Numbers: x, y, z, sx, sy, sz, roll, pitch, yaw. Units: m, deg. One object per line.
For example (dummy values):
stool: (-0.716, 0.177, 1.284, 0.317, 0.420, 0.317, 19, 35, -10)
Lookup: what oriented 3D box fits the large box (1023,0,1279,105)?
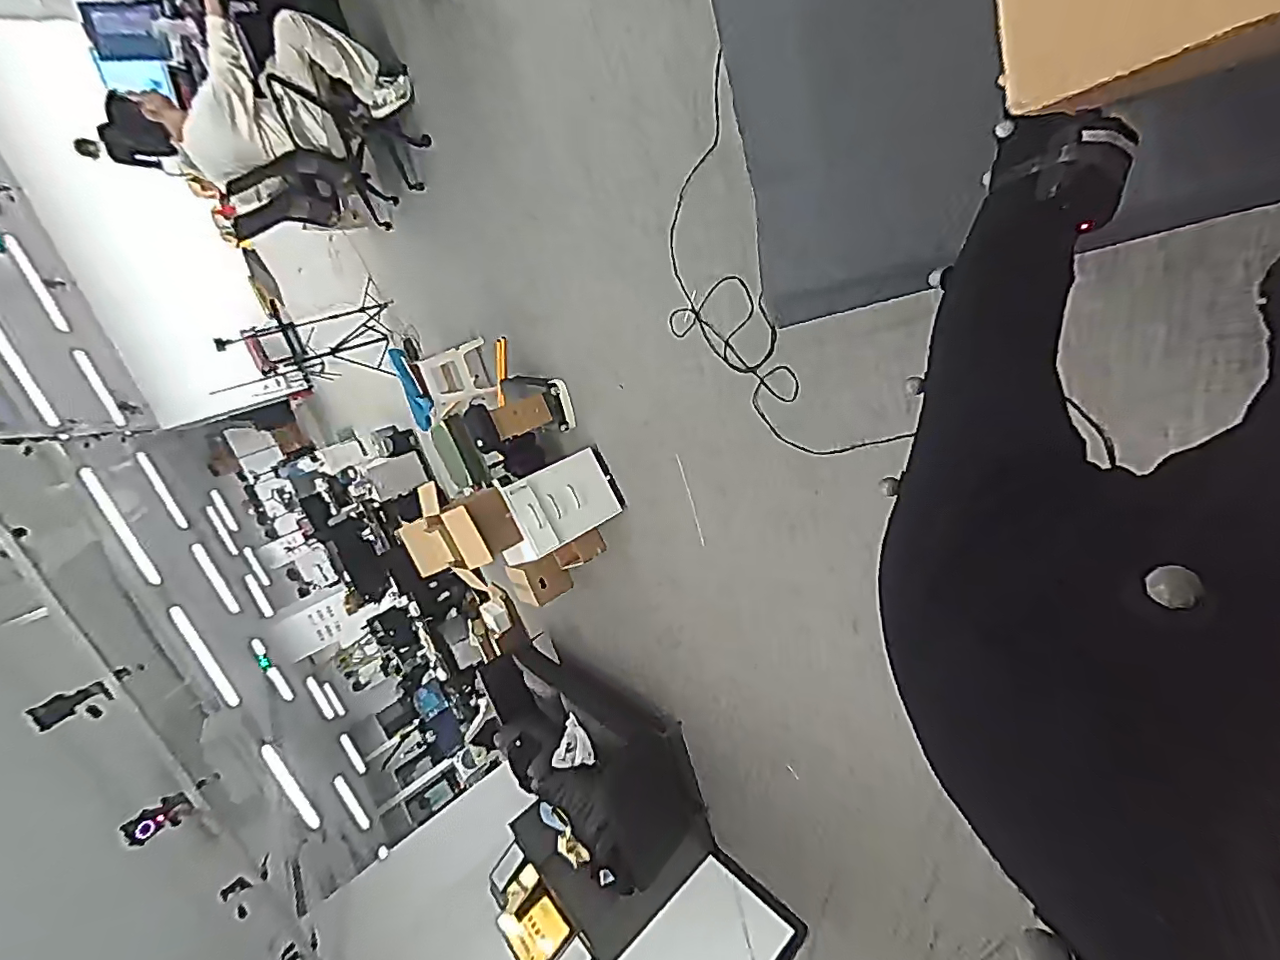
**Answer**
large box: (0.422, -0.409, 0.207, 0.408, 0.320, 0.320, 6, 118, 53)
